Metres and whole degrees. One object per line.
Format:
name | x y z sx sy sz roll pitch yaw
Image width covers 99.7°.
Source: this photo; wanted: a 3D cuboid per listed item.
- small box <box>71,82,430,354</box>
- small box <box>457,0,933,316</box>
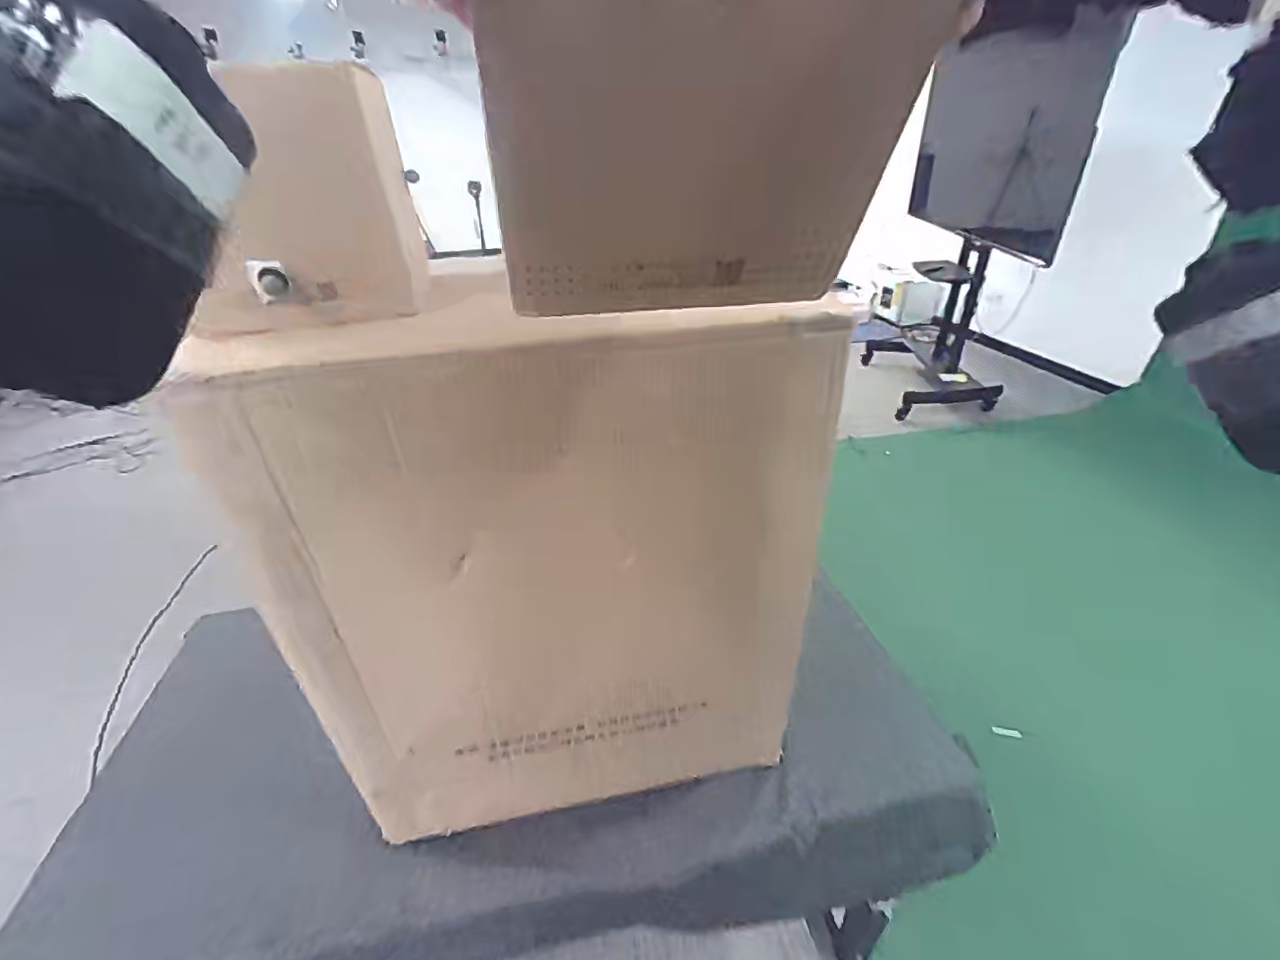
small box | -0.285 -0.220 0.453 0.168 0.176 0.179 -13 36 -11
small box | 0.004 -0.203 0.257 0.168 0.176 0.179 -7 57 -9
